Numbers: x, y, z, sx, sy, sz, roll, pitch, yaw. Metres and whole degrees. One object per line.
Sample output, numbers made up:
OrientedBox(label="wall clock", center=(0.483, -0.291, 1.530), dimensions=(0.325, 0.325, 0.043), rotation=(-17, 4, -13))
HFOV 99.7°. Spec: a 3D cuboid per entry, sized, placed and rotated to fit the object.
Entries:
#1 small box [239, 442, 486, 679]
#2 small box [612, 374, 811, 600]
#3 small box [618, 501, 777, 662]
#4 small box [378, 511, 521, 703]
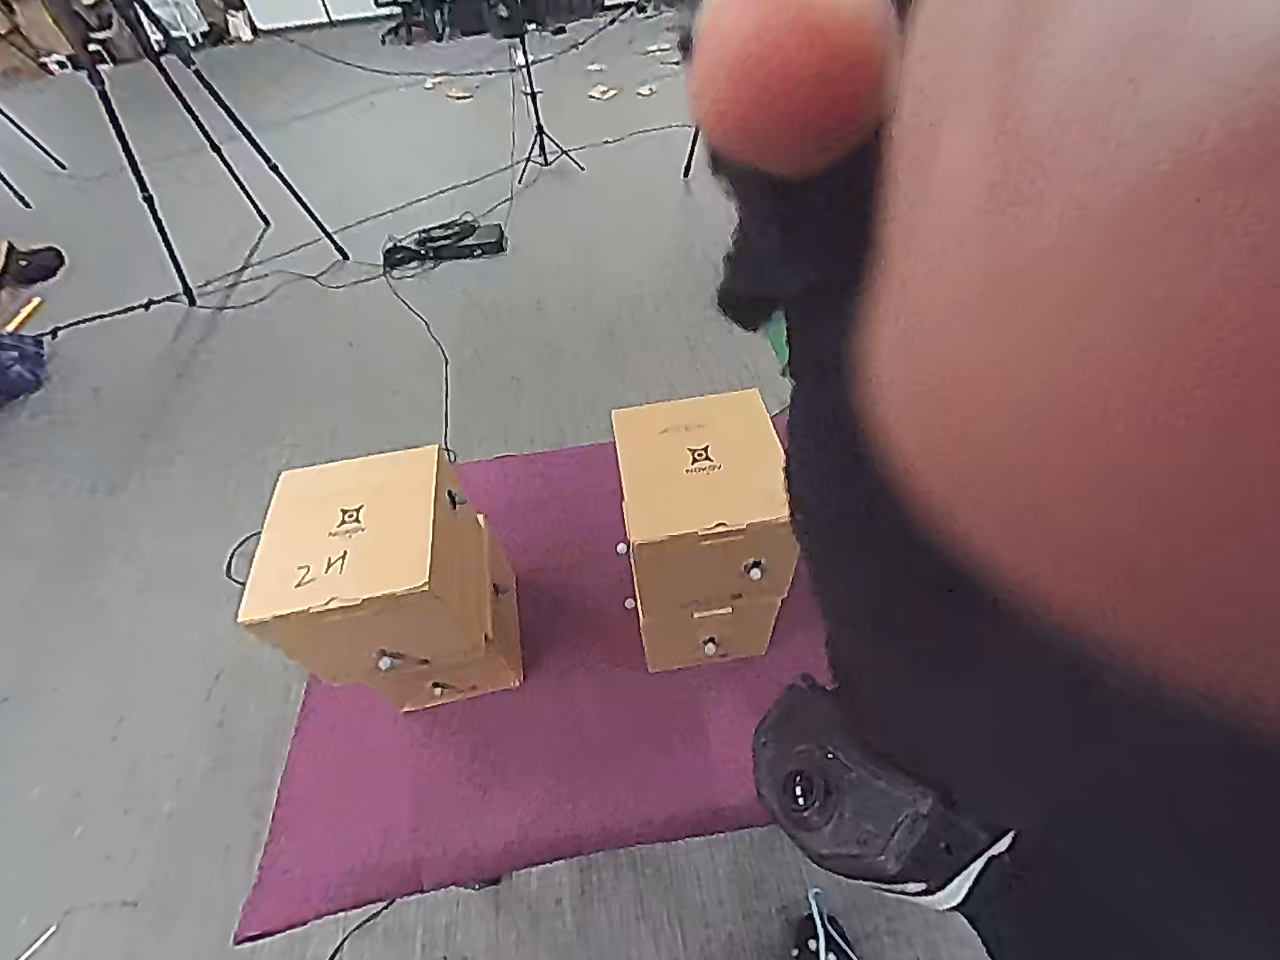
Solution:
OrientedBox(label="small box", center=(-0.270, 0.088, 0.576), dimensions=(0.168, 0.176, 0.179), rotation=(-10, 52, -3))
OrientedBox(label="small box", center=(0.068, 0.015, 0.584), dimensions=(0.168, 0.176, 0.179), rotation=(-9, 51, -2))
OrientedBox(label="small box", center=(0.073, 0.129, 0.727), dimensions=(0.168, 0.176, 0.179), rotation=(-12, 51, -3))
OrientedBox(label="small box", center=(-0.261, 0.170, 0.720), dimensions=(0.168, 0.176, 0.179), rotation=(-12, 52, -5))
